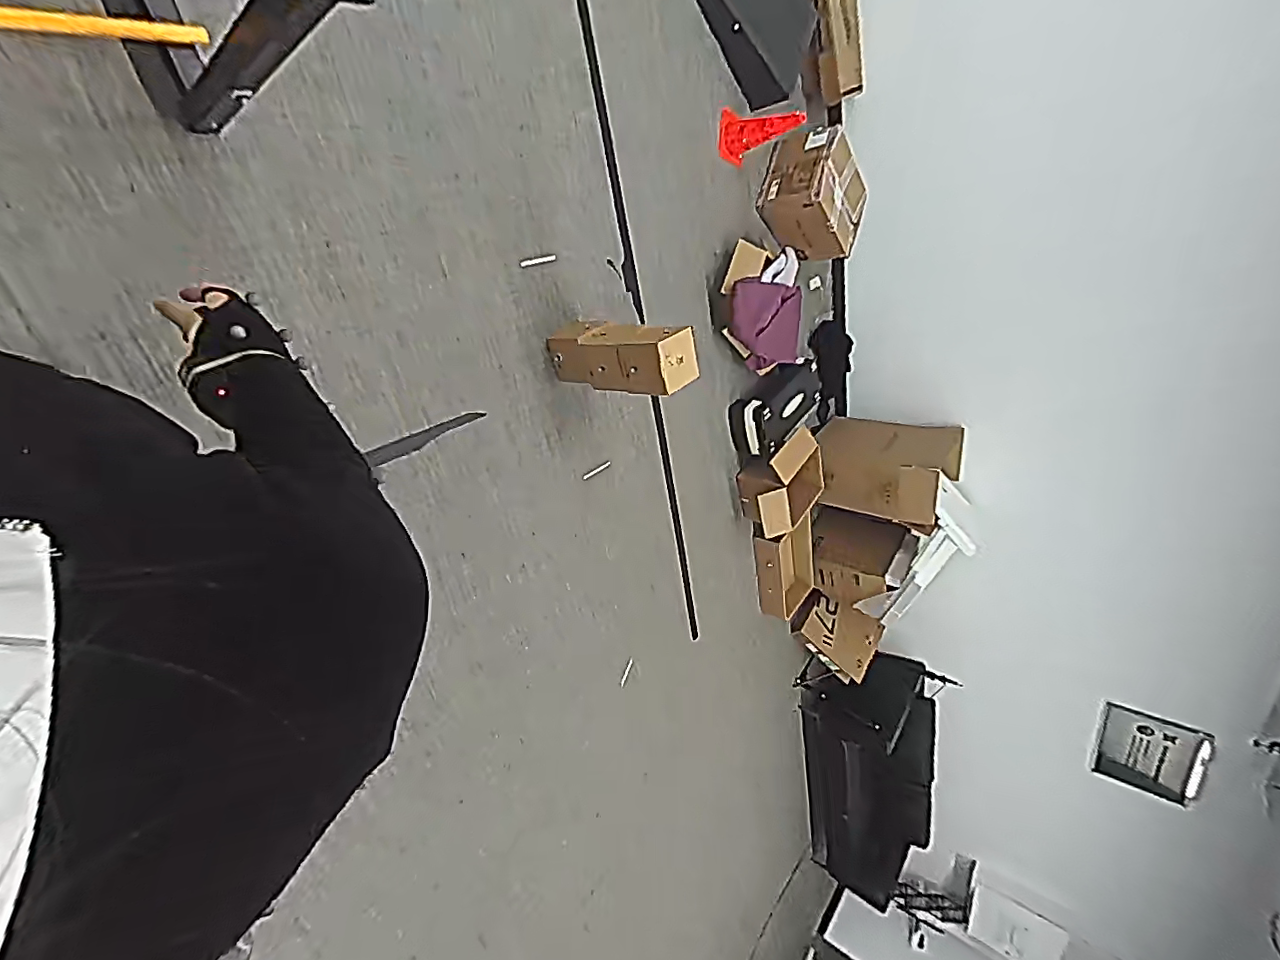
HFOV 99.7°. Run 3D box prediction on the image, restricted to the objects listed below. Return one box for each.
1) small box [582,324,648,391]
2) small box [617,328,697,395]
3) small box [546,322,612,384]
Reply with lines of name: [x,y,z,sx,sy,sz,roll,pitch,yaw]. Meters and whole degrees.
small box: [-0.073,-0.409,1.806,0.179,0.176,0.168,-41,127,-35]
small box: [0.055,-0.378,1.706,0.179,0.176,0.168,-36,124,-39]
small box: [-0.198,-0.452,1.904,0.179,0.176,0.168,-39,126,-35]
